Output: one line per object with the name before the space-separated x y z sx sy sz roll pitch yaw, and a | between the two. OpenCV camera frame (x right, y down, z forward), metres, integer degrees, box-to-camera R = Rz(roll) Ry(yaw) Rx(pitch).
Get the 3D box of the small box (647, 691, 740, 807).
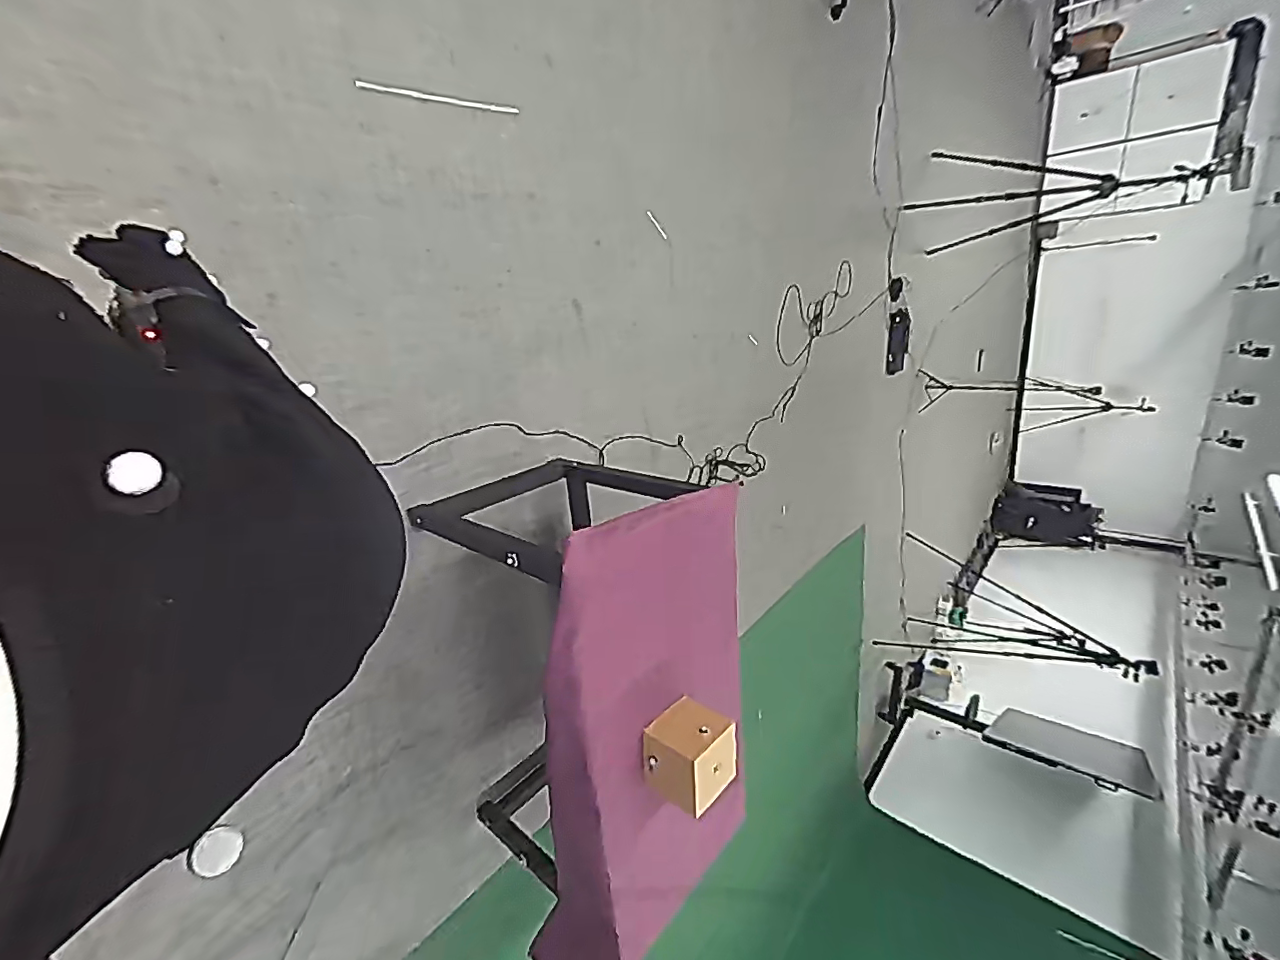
small box | 0.136 0.670 1.376 0.179 0.176 0.168 -18 111 -44
